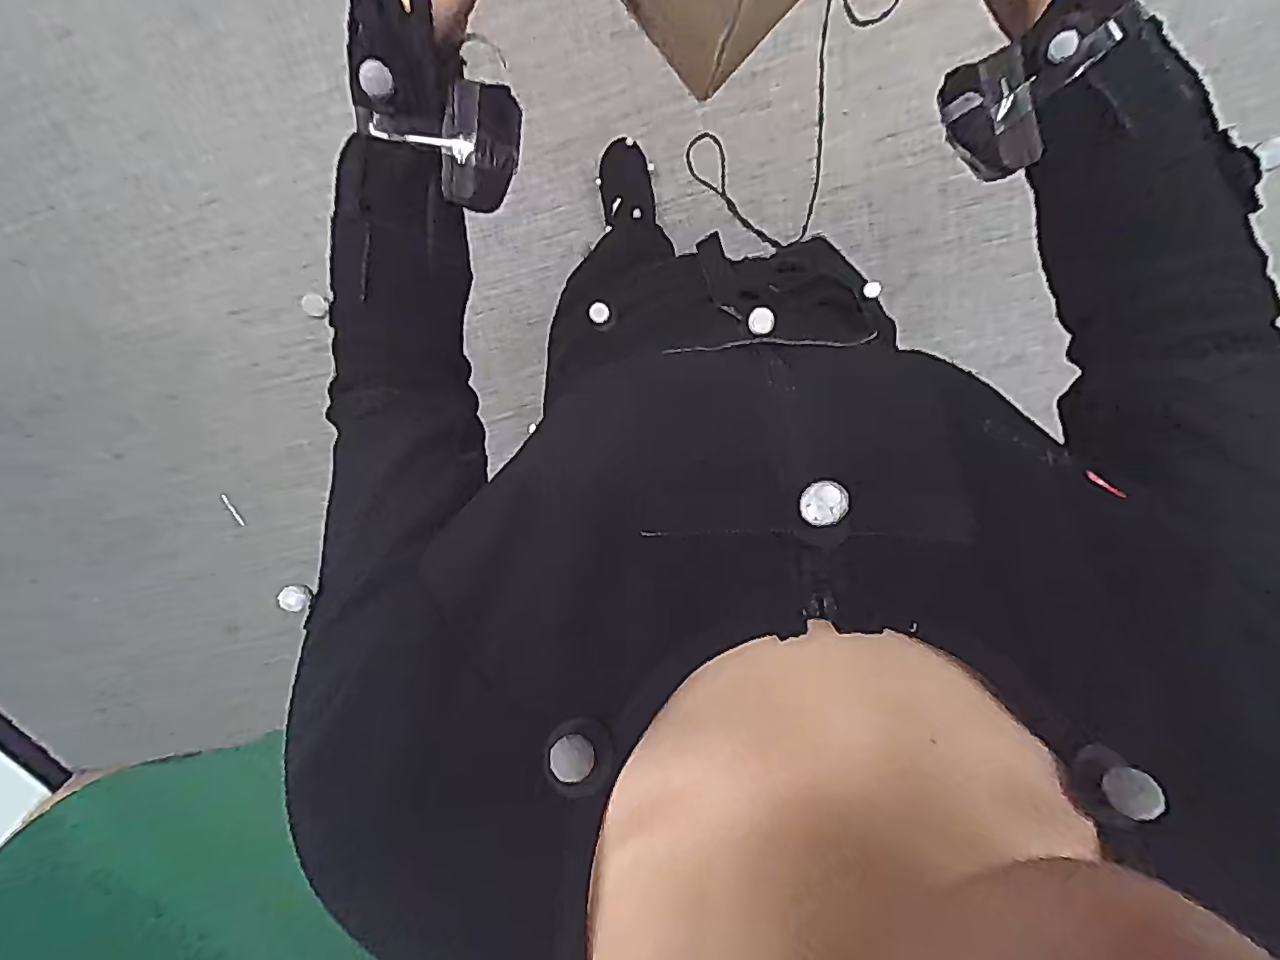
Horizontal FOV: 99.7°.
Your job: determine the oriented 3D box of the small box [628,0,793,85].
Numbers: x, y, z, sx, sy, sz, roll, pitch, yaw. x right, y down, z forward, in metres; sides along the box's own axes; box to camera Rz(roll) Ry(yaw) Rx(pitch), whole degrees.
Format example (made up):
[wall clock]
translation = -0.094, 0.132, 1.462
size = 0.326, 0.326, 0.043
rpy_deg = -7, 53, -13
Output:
[small box]
translation = 0.039, -0.303, 0.204
size = 0.179, 0.176, 0.168
rpy_deg = -42, 105, 16
